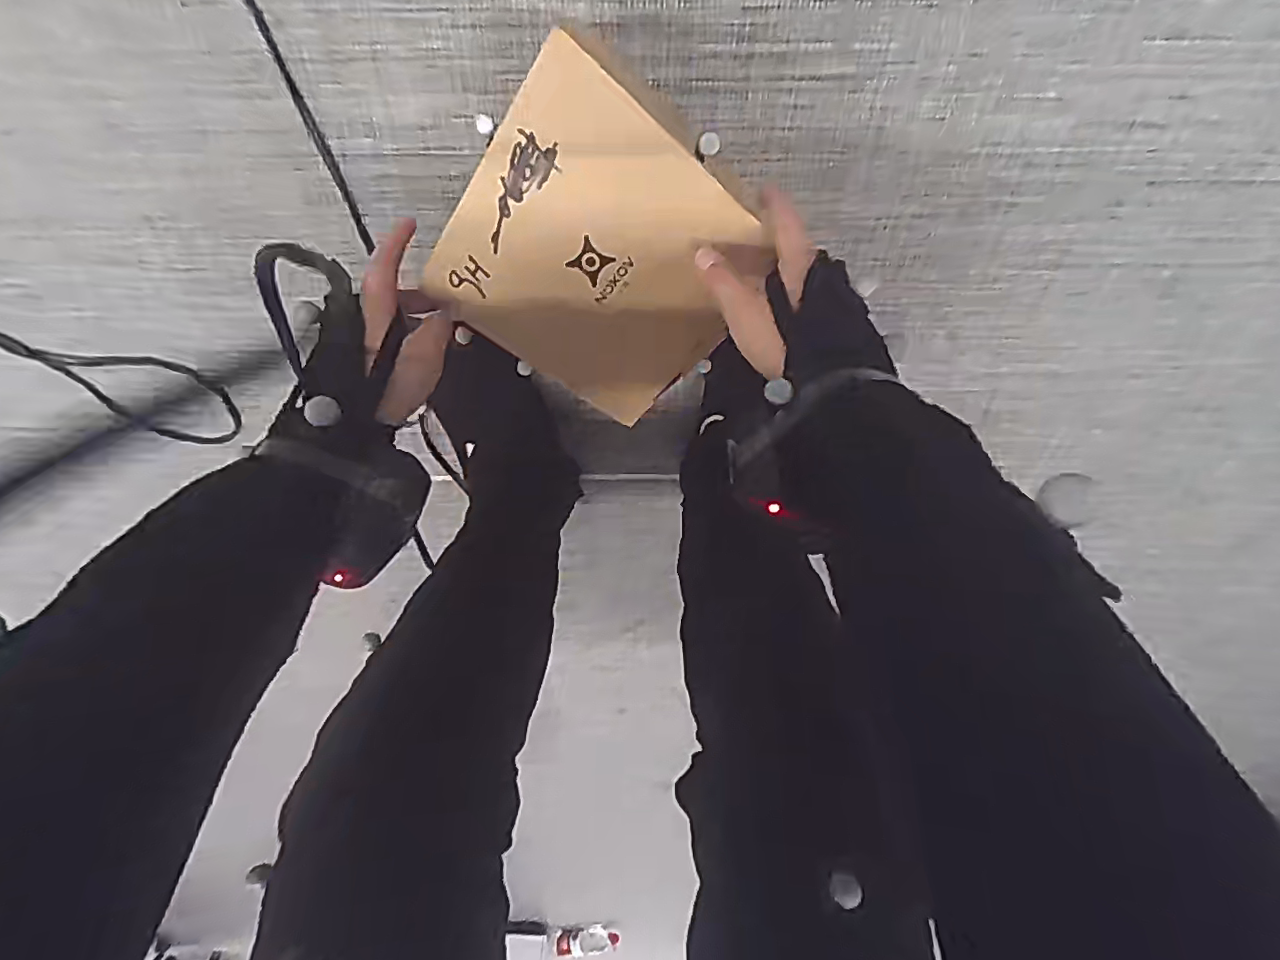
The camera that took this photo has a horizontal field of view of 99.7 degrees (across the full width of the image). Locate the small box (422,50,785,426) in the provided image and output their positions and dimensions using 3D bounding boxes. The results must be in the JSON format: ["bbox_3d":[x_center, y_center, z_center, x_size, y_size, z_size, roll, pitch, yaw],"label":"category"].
[{"bbox_3d":[-0.024,-0.180,0.403,0.179,0.176,0.168,32,123,-25],"label":"small box"}]
